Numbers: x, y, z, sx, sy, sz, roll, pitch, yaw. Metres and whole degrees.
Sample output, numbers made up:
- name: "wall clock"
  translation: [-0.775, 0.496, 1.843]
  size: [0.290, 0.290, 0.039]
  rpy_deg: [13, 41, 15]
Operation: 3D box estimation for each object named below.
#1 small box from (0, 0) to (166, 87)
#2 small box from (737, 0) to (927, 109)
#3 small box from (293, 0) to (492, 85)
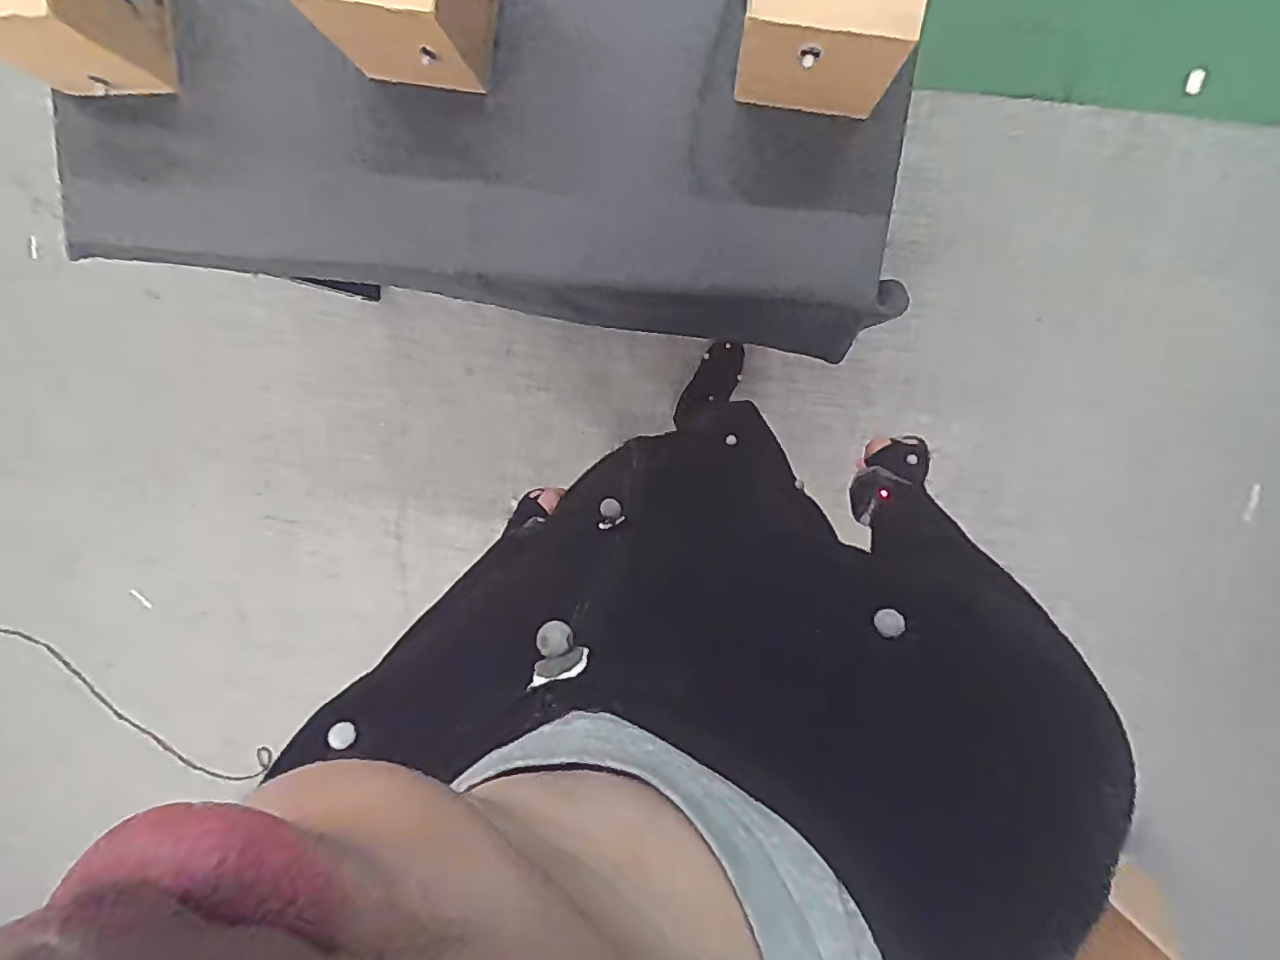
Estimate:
- name: "small box"
  translation: [-0.745, -0.627, 0.678]
  size: [0.179, 0.176, 0.168]
  rpy_deg: [2, 100, 4]
- name: "small box"
  translation: [0.212, -0.547, 0.600]
  size: [0.179, 0.176, 0.168]
  rpy_deg: [11, 101, 3]
- name: "small box"
  translation: [-0.284, -0.607, 0.640]
  size: [0.179, 0.176, 0.168]
  rpy_deg: [10, 100, 5]
